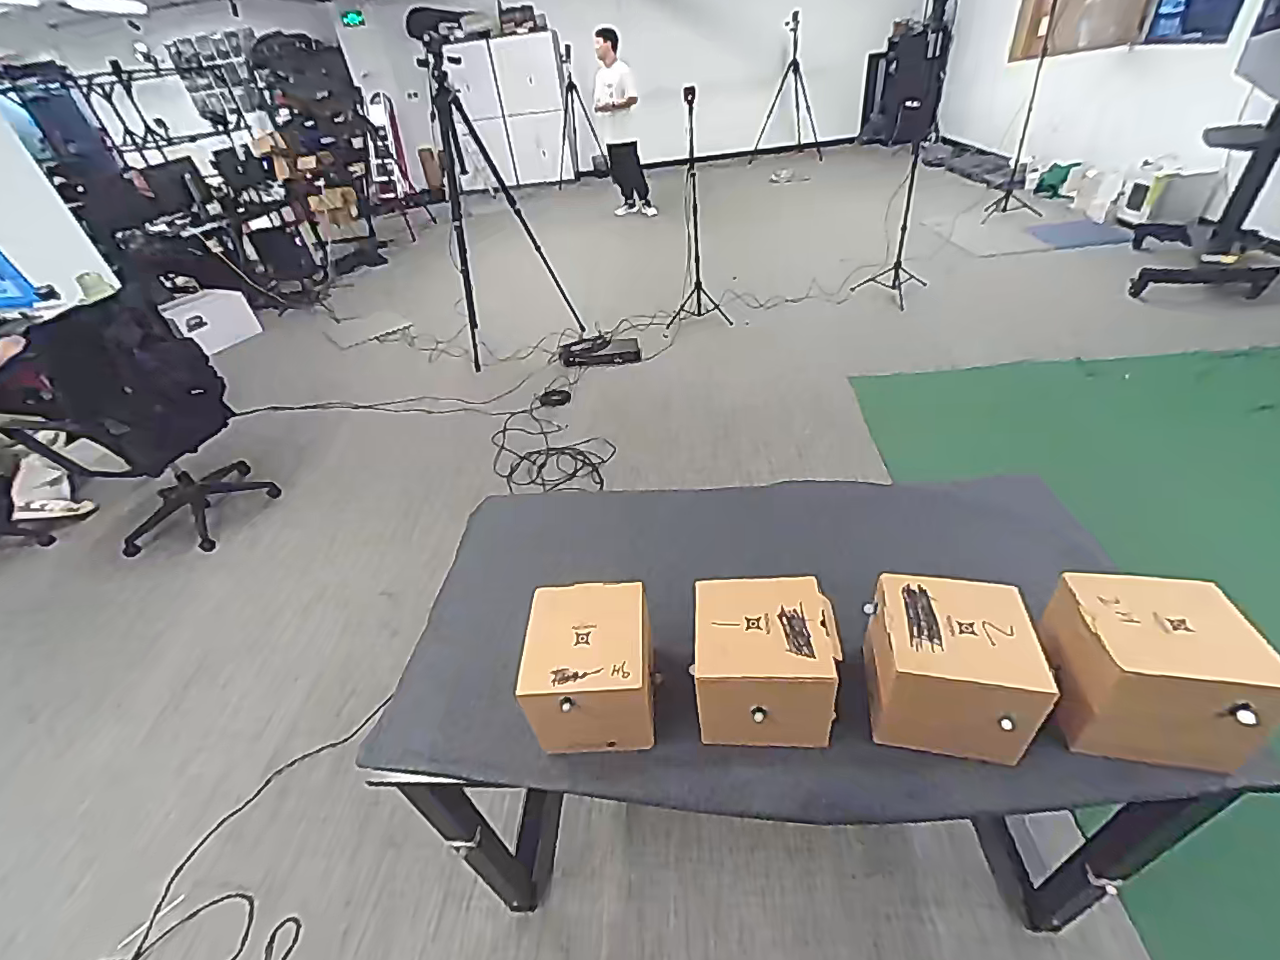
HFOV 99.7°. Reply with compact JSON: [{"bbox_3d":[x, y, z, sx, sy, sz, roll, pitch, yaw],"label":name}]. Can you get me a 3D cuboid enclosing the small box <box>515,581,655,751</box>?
[{"bbox_3d":[-0.069,0.274,0.798,0.168,0.176,0.179,-5,38,6],"label":"small box"}]
